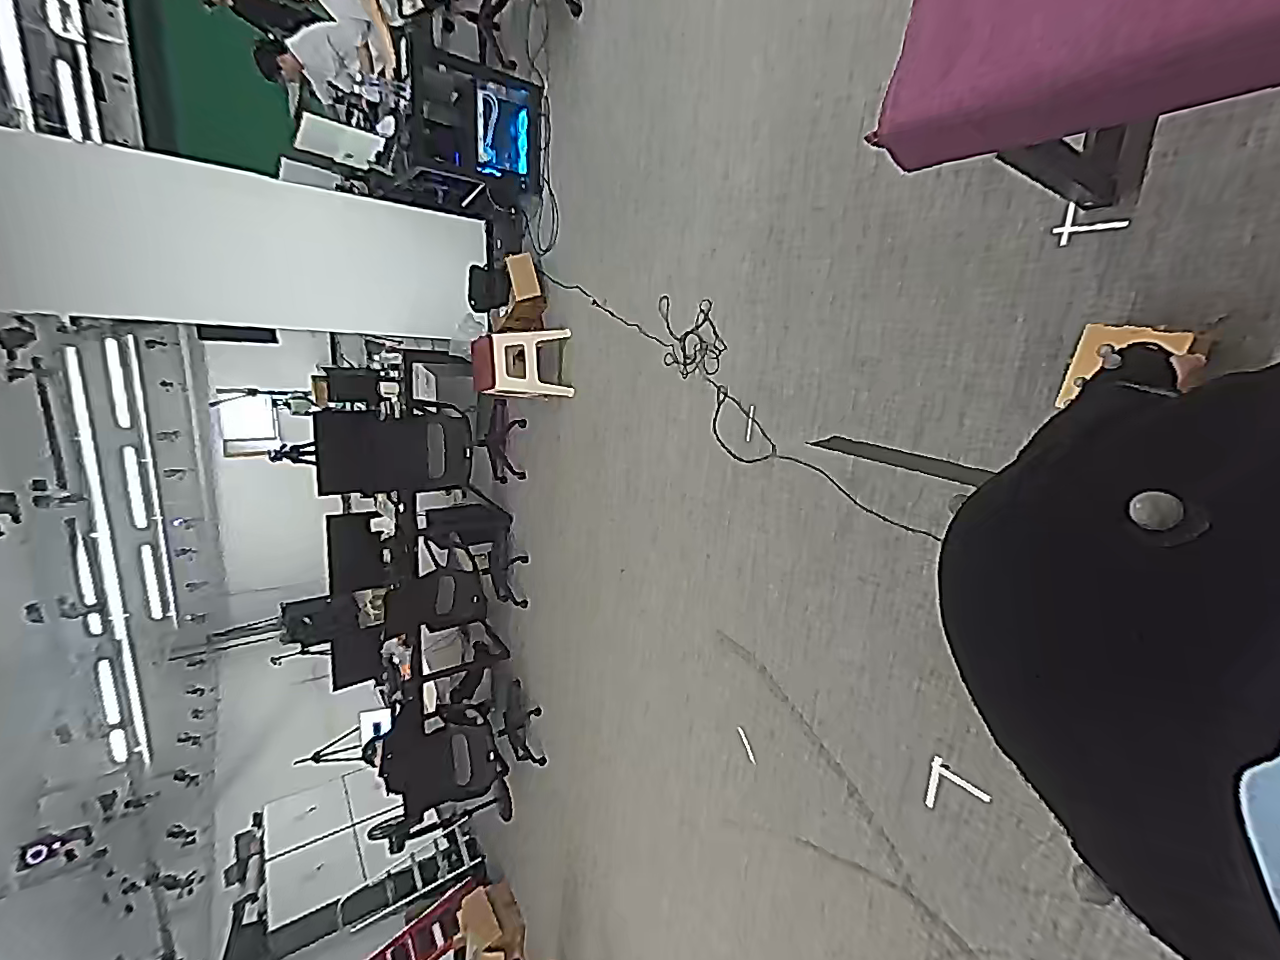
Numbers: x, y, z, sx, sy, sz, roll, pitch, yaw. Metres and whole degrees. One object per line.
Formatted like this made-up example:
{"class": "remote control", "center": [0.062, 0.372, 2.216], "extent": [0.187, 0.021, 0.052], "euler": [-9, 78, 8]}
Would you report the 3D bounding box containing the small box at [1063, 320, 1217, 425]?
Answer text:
{"class": "small box", "center": [1.003, -0.219, 1.086], "extent": [0.168, 0.176, 0.179], "euler": [31, 120, 49]}
